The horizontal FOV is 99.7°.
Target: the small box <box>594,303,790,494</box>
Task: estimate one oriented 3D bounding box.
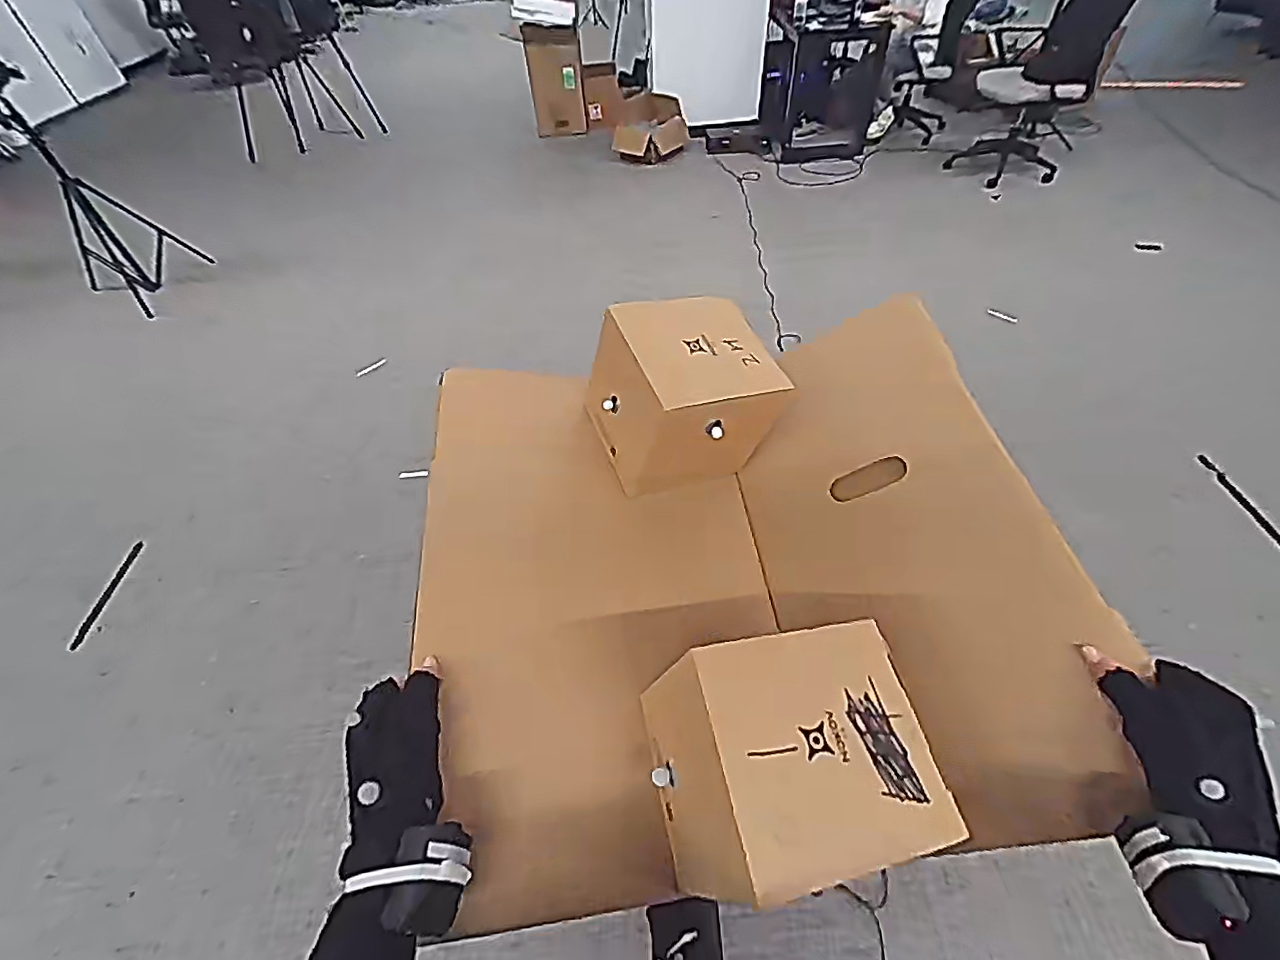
[{"bbox_3d":[0.049,-0.101,0.689,0.179,0.176,0.168,-12,60,-25],"label":"small box"}]
